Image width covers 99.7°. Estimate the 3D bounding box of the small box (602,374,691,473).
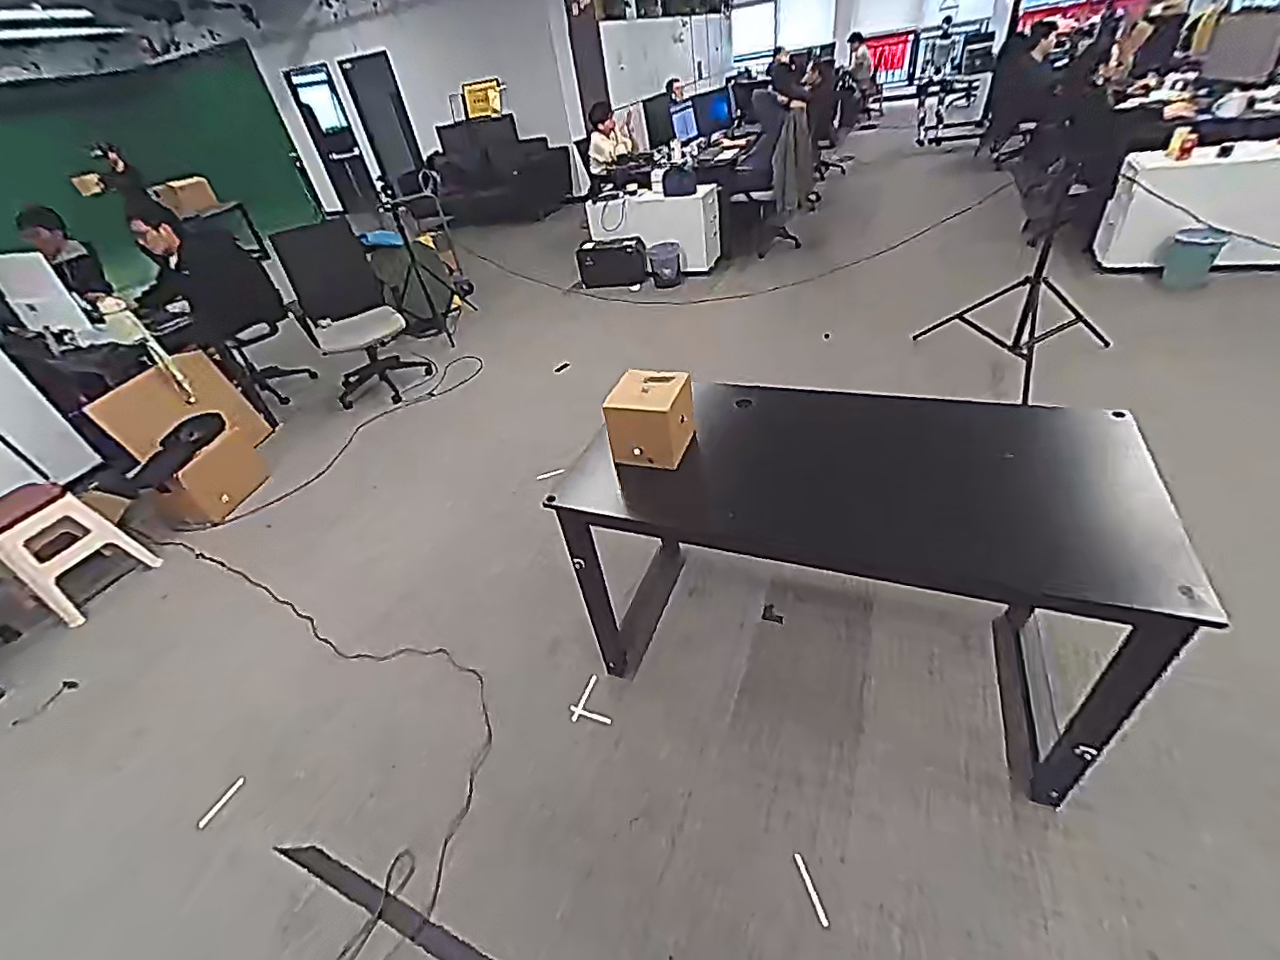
[{"bbox_3d":[0.025,-0.142,1.329,0.168,0.176,0.179,7,42,21],"label":"small box"}]
